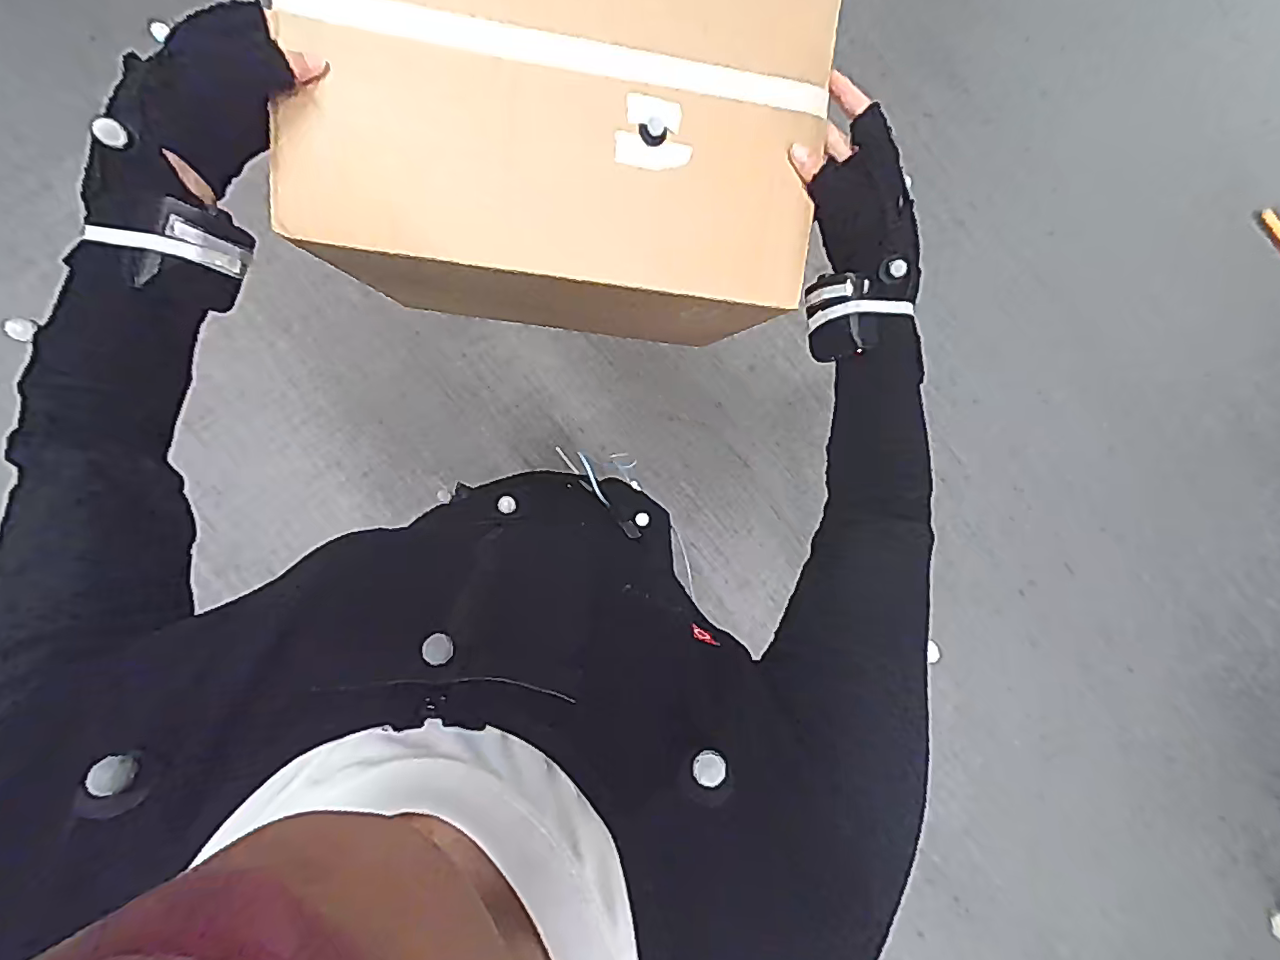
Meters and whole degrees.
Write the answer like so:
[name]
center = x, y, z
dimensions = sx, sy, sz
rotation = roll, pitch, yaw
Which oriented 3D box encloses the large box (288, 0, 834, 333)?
[large box]
center = -0.072, -0.343, 0.551
dimensions = 0.408, 0.320, 0.320
rotation = 4, 98, -10
